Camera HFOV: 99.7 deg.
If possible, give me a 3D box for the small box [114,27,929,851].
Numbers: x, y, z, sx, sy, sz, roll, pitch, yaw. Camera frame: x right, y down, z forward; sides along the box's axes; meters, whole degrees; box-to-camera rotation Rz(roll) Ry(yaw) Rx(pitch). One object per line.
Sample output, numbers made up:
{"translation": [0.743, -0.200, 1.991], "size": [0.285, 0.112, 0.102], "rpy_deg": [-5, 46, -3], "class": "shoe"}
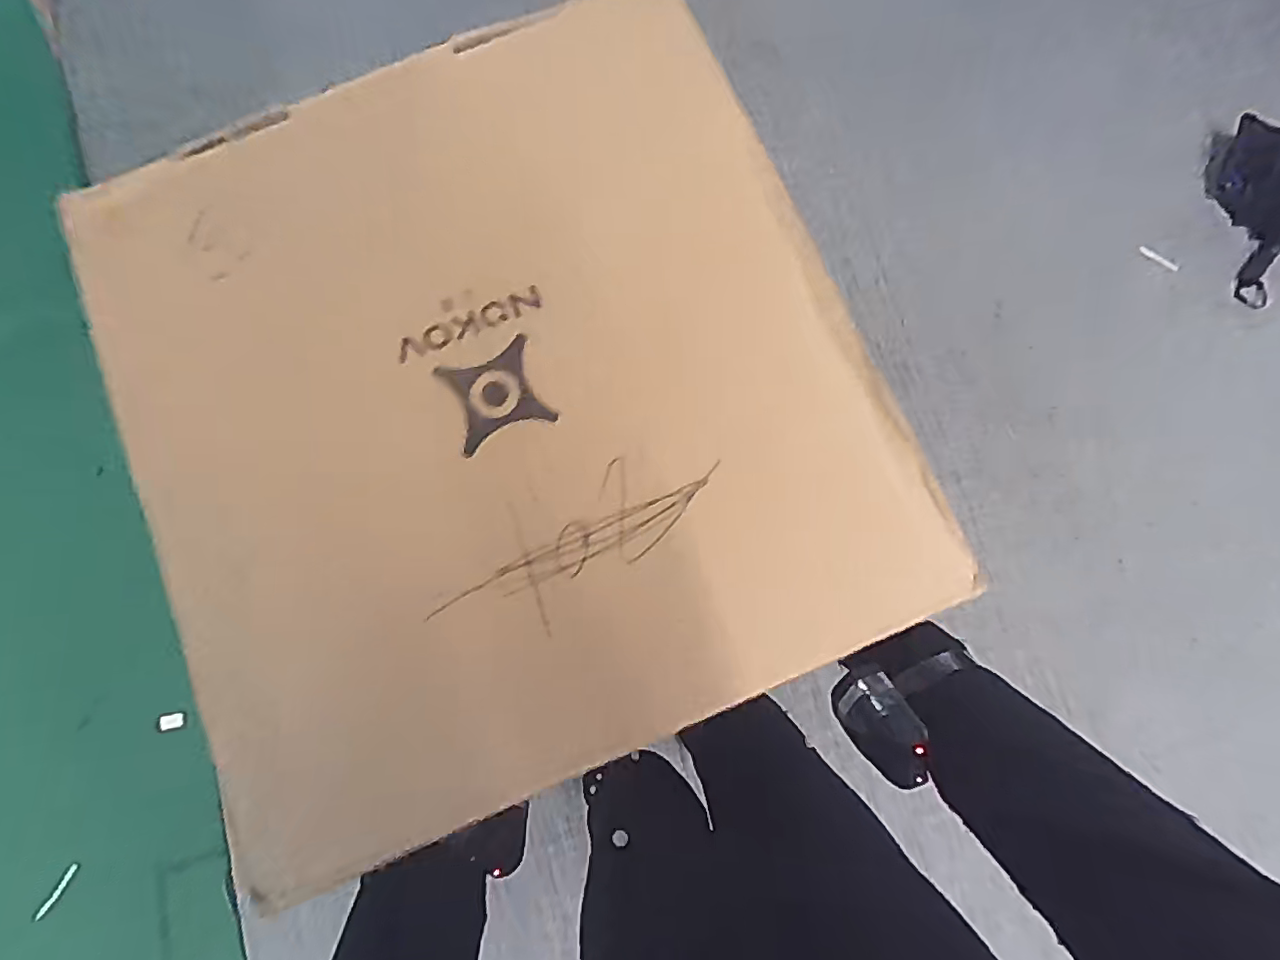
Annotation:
{"translation": [-0.035, -0.010, 0.219], "size": [0.168, 0.176, 0.179], "rpy_deg": [-24, 82, -2], "class": "small box"}
